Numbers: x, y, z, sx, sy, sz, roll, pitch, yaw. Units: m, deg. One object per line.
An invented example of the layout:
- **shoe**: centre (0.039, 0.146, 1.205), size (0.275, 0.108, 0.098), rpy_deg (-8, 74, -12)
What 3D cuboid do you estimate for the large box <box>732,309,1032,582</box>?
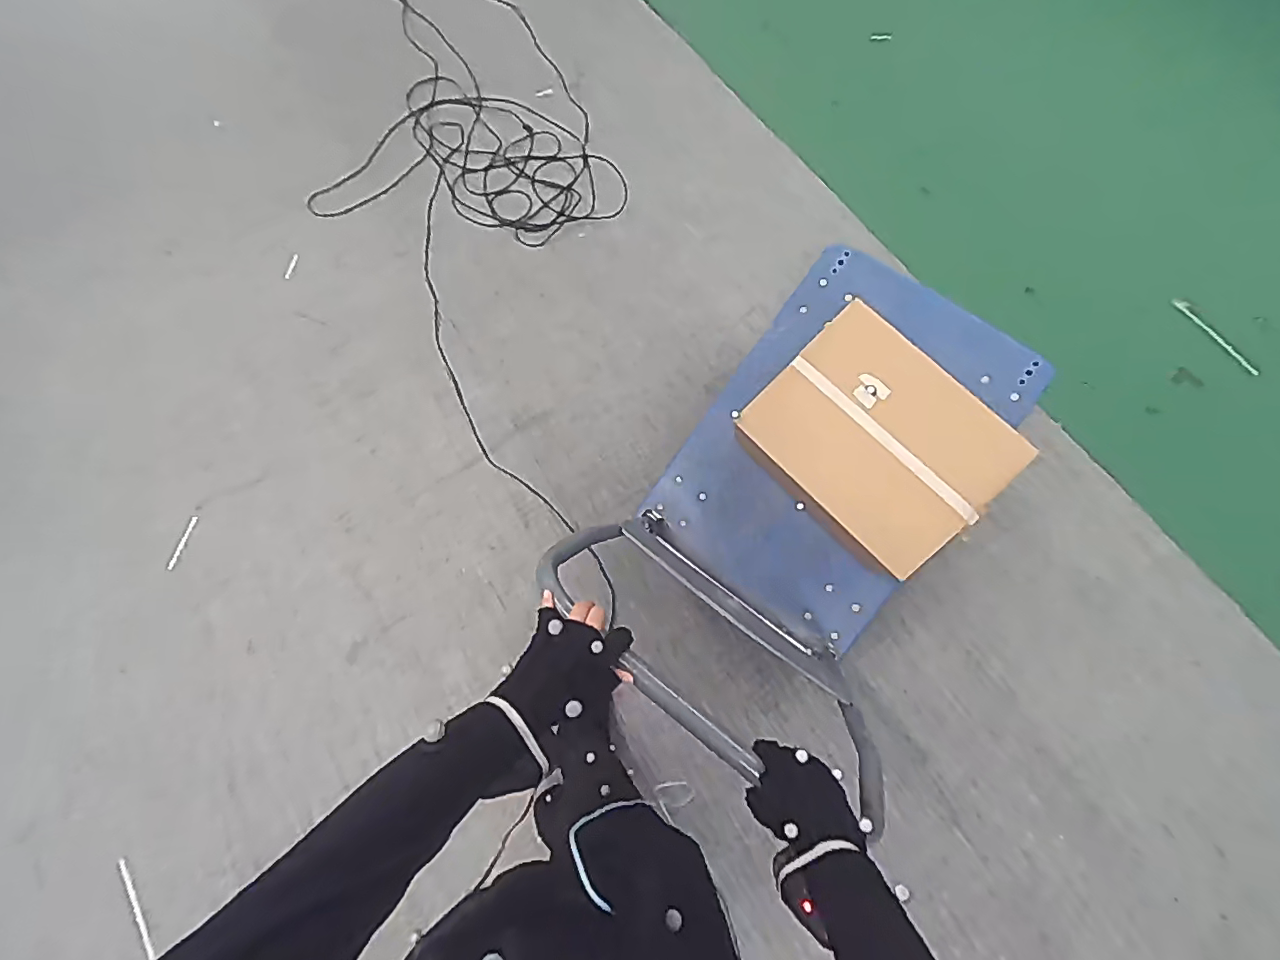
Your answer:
- **large box**: centre (0.443, -0.055, 1.090), size (0.320, 0.320, 0.408), rpy_deg (-44, 79, 5)
